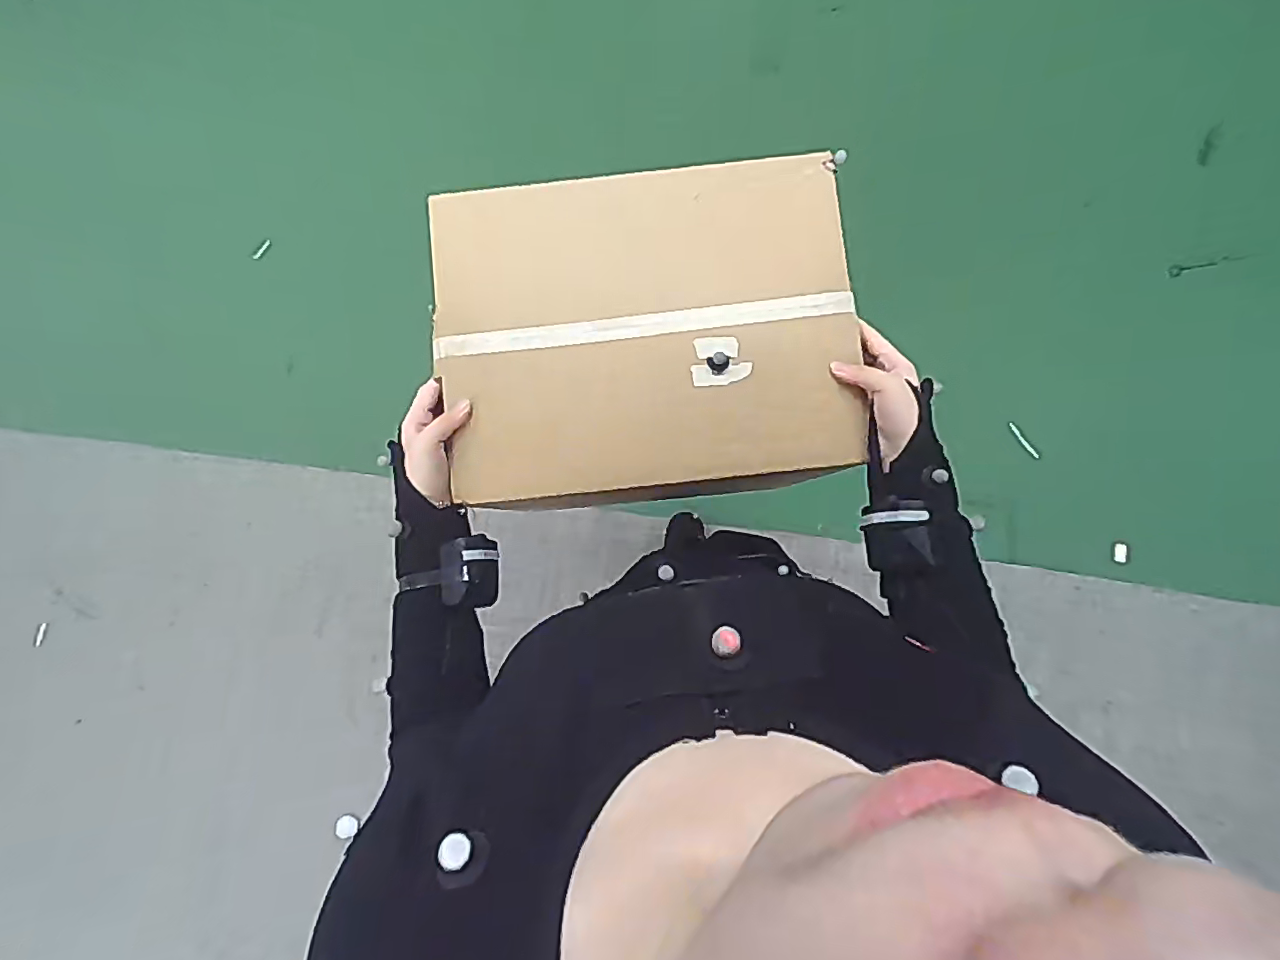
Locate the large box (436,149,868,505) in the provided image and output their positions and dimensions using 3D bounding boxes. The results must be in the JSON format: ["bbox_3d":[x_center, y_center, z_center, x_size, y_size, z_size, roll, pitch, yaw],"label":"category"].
[{"bbox_3d":[0.006,-0.149,0.679,0.408,0.320,0.320,-6,86,-1],"label":"large box"}]
